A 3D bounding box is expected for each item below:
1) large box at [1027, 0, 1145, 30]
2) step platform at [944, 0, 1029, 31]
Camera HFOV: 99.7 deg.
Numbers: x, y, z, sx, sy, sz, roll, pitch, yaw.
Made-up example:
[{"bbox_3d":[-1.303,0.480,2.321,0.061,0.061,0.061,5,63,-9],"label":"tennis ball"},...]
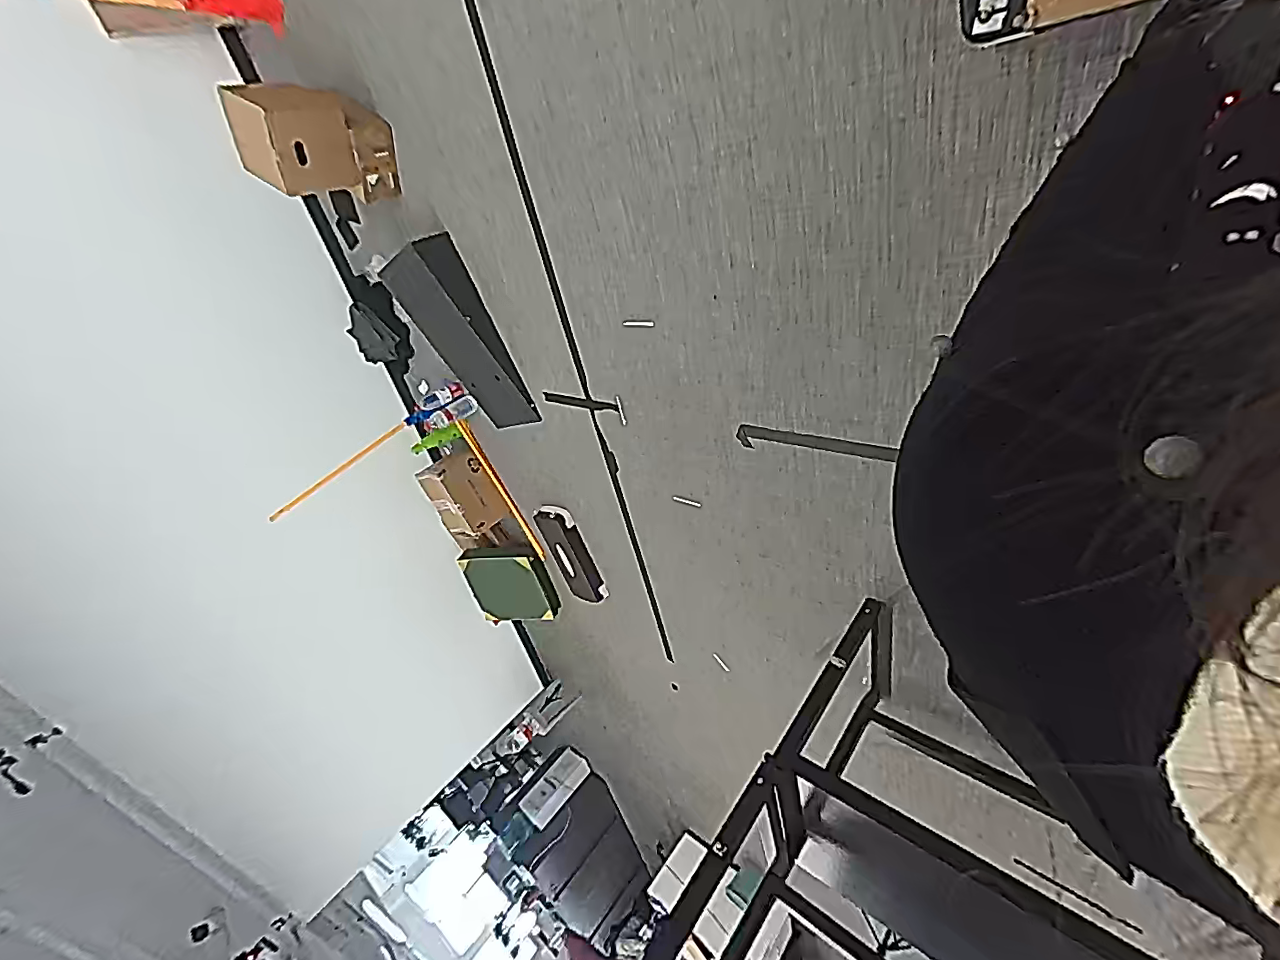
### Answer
[{"bbox_3d":[0.674,-0.710,0.529,0.408,0.320,0.320,16,132,41],"label":"large box"},{"bbox_3d":[0.792,-0.830,0.707,0.684,0.204,0.286,22,136,37],"label":"step platform"}]
